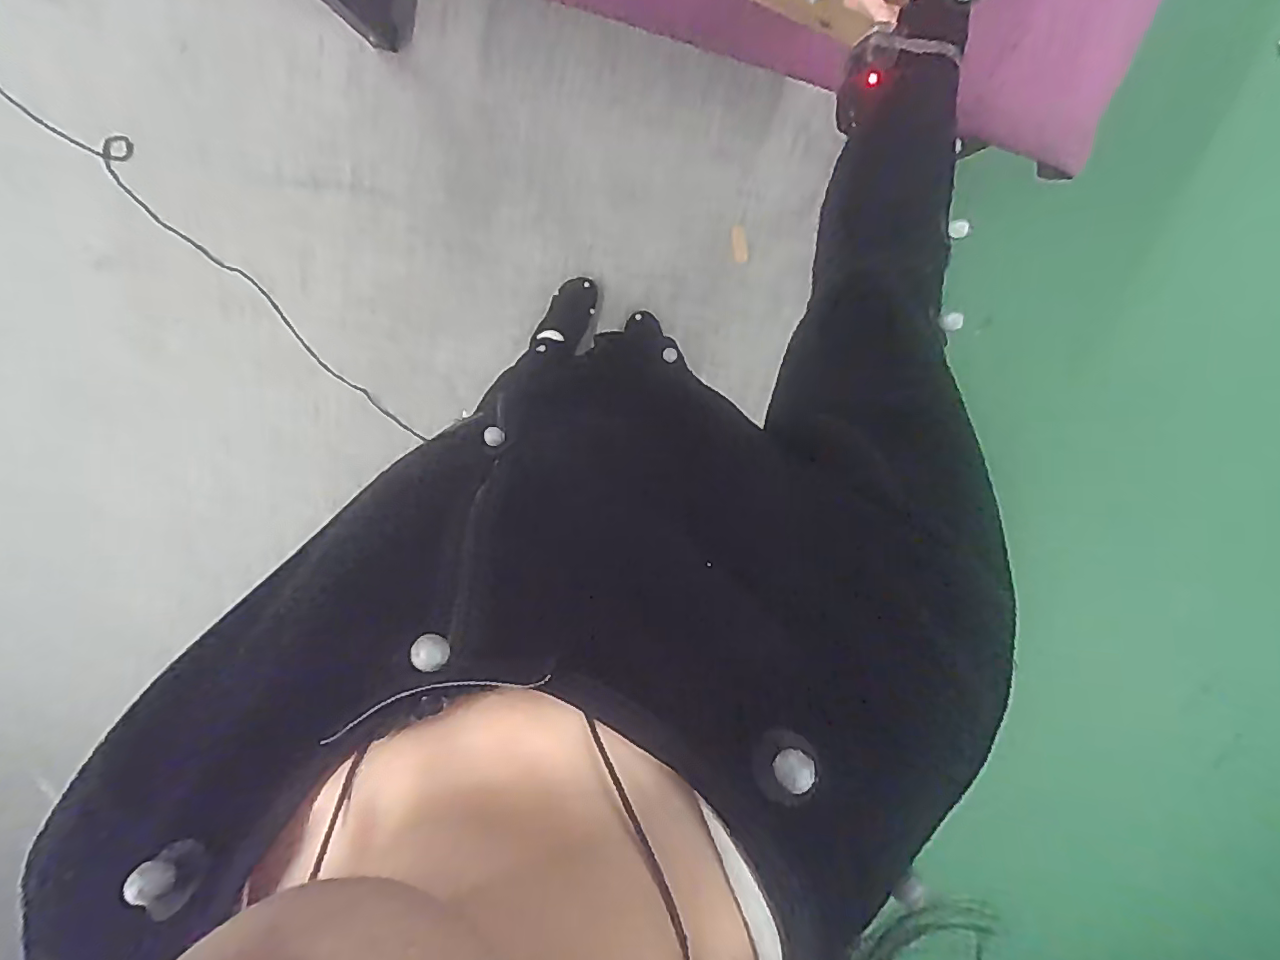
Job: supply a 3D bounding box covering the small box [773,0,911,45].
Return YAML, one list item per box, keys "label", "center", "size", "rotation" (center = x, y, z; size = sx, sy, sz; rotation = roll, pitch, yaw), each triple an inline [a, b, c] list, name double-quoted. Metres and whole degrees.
- label: "small box"
  center: [0.210, -0.552, 0.495]
  size: [0.168, 0.176, 0.179]
  rotation: [20, 110, -7]
